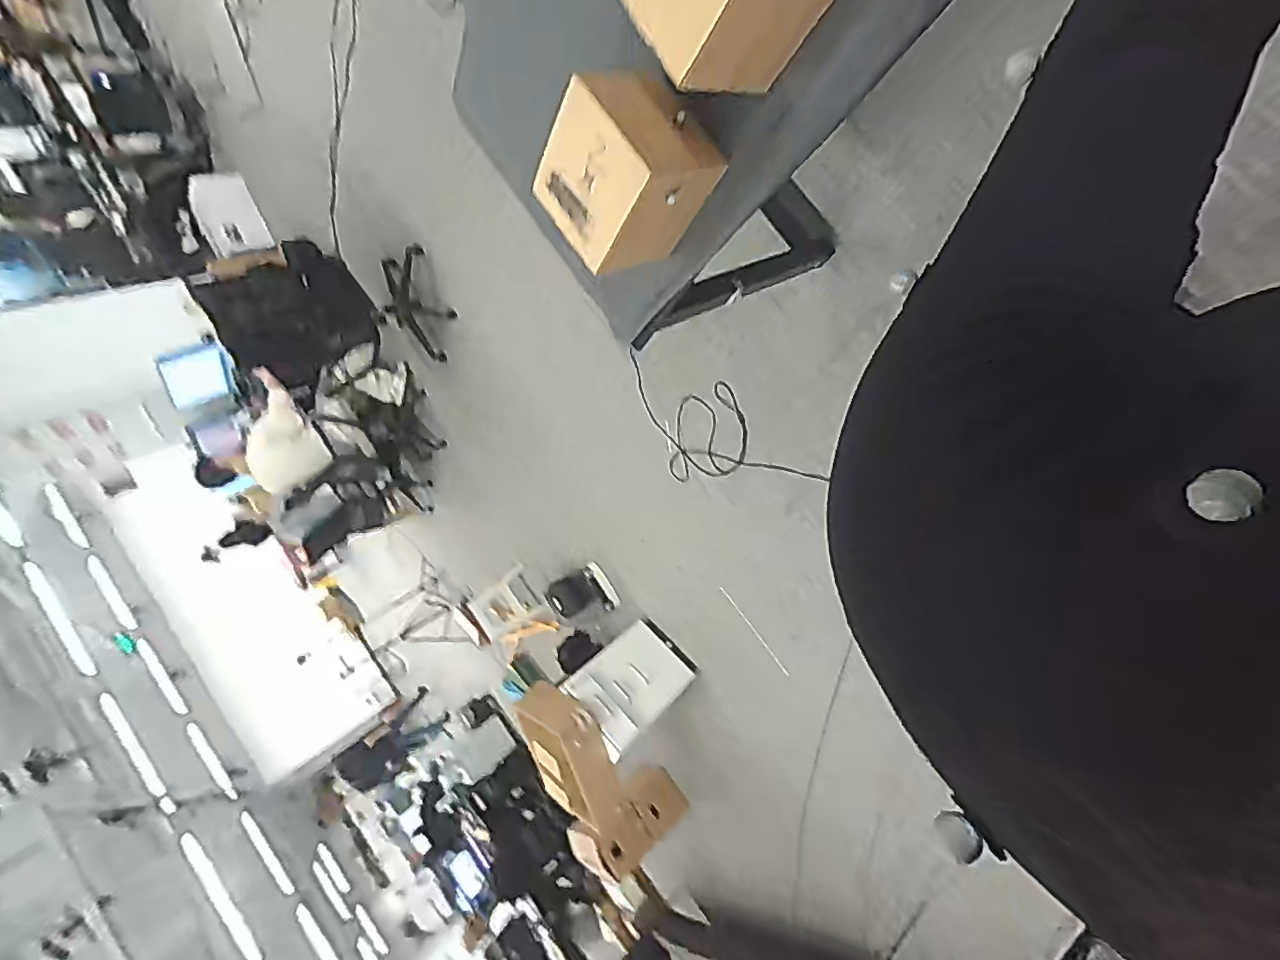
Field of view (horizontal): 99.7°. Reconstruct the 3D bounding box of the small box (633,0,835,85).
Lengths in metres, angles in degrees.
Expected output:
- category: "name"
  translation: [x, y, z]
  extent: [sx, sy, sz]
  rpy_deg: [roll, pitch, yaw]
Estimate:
- category: "small box"
  translation: [0.105, -0.553, 0.559]
  extent: [0.168, 0.176, 0.179]
  rpy_deg: [59, 144, 2]
